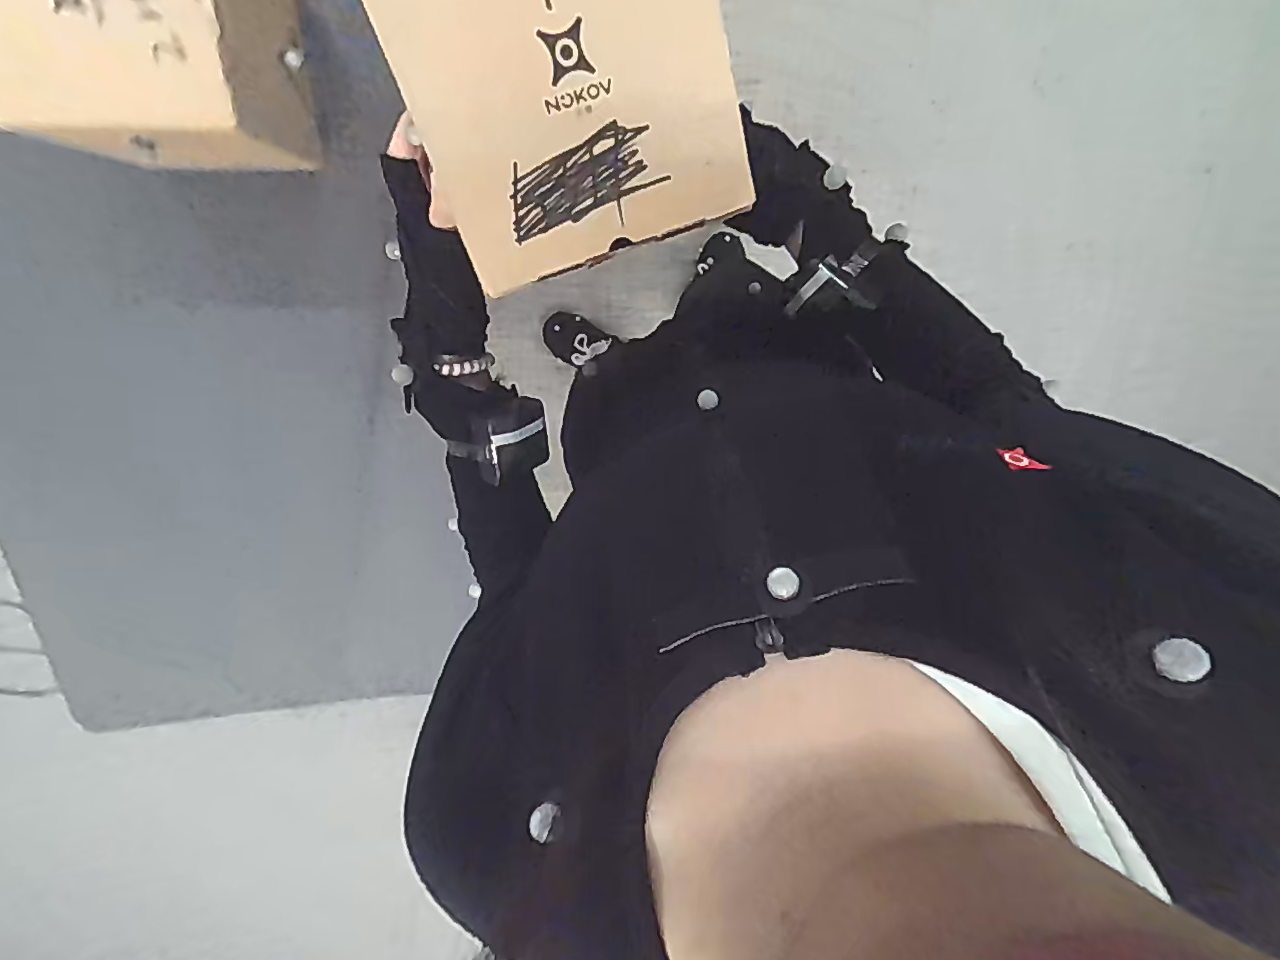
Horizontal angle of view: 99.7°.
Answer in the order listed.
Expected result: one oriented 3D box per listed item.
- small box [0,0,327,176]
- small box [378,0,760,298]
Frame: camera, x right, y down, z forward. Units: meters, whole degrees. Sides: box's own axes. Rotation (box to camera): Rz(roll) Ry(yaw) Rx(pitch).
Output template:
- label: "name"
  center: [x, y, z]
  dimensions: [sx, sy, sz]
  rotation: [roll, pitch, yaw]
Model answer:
- label: "small box"
  center: [-0.413, -0.371, 0.470]
  dimensions: [0.179, 0.176, 0.168]
  rotation: [-3, 111, -5]
- label: "small box"
  center: [-0.043, -0.237, 0.344]
  dimensions: [0.168, 0.176, 0.179]
  rotation: [-20, 117, -2]
